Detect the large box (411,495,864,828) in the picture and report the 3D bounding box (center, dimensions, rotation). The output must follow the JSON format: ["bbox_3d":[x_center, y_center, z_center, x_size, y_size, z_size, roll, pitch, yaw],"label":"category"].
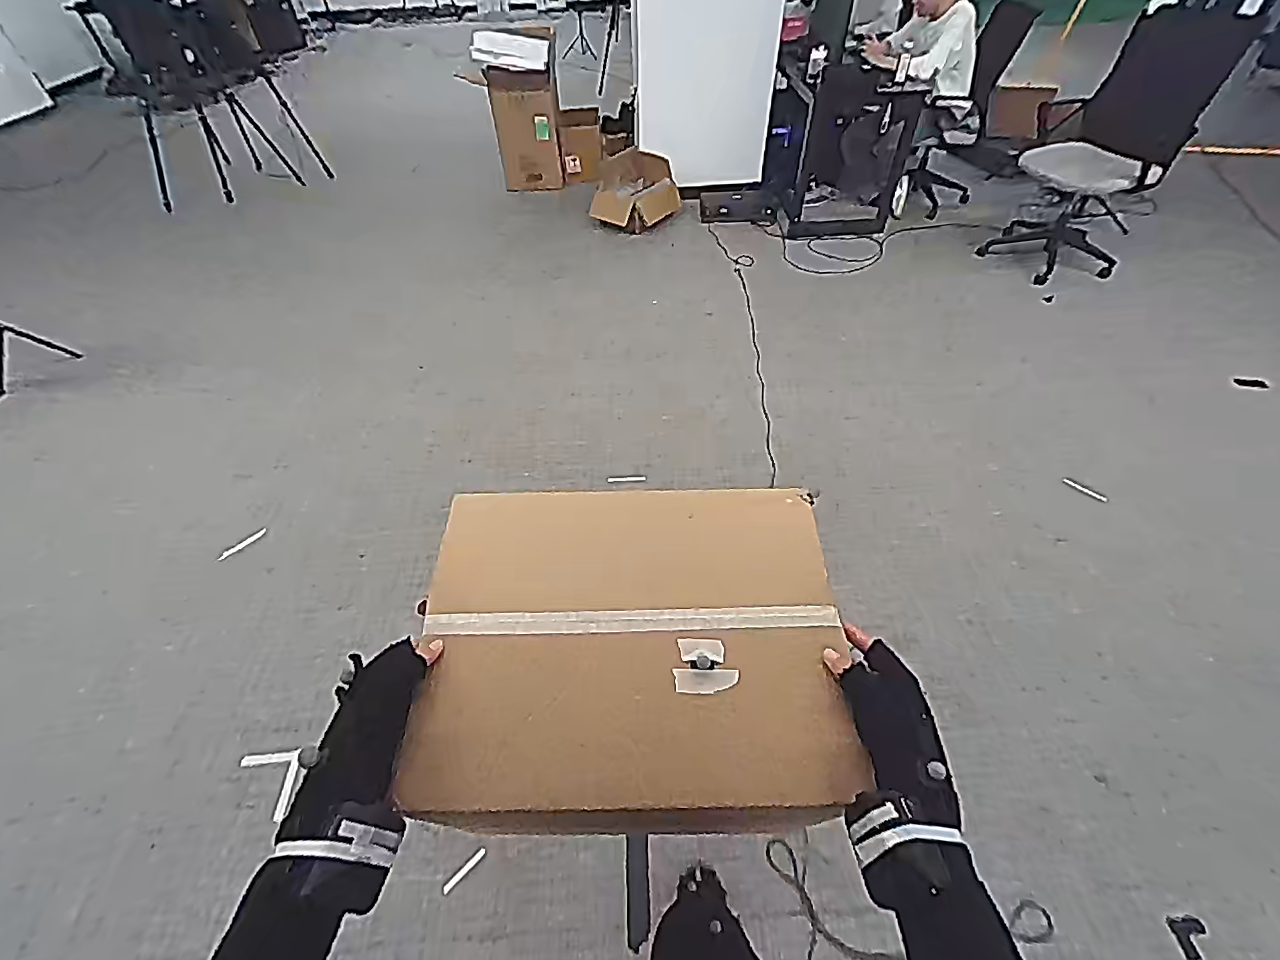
[{"bbox_3d":[-0.006,0.234,0.673,0.408,0.320,0.320,-1,54,0],"label":"large box"}]
